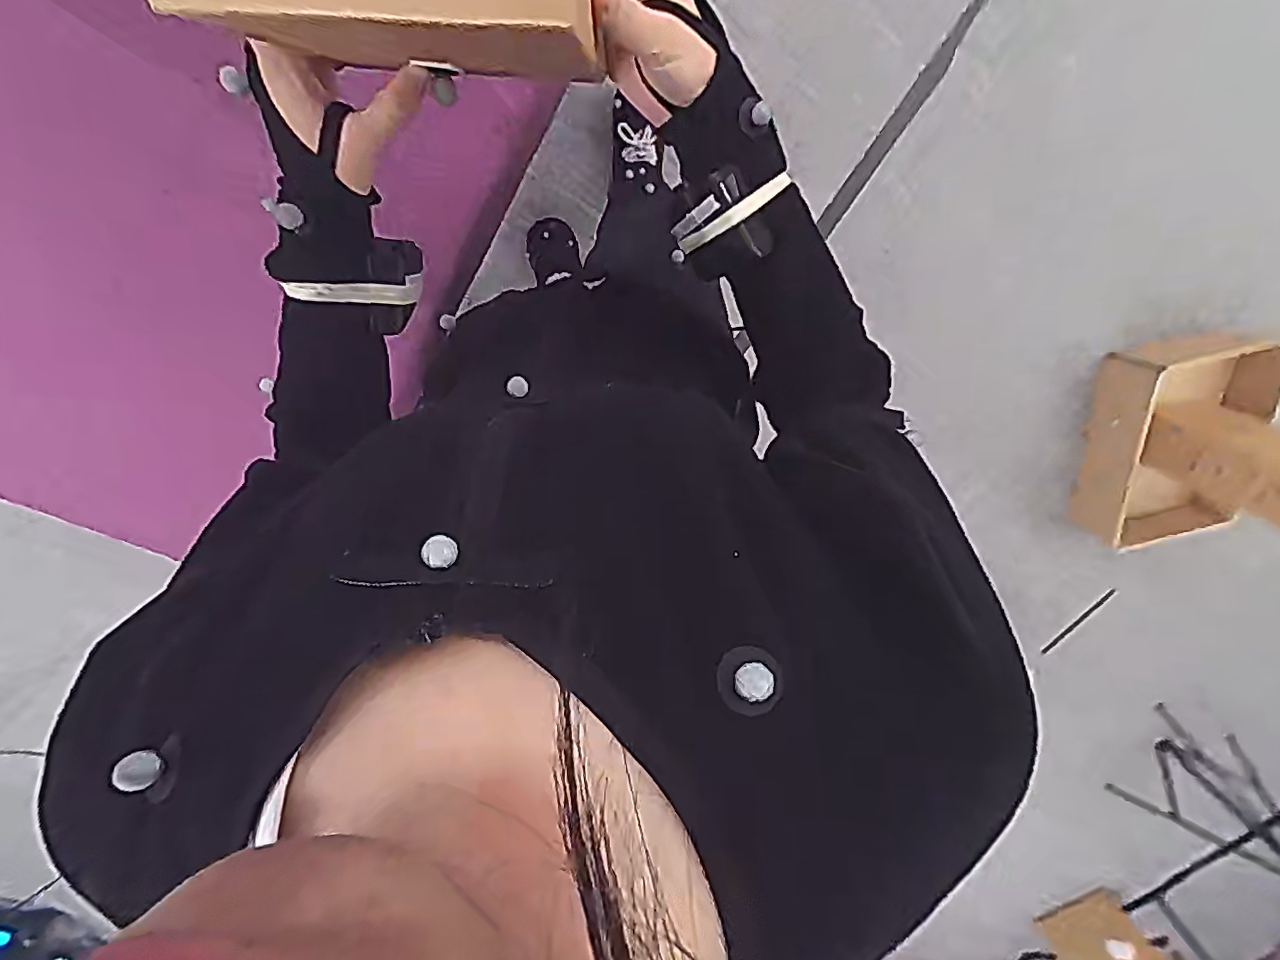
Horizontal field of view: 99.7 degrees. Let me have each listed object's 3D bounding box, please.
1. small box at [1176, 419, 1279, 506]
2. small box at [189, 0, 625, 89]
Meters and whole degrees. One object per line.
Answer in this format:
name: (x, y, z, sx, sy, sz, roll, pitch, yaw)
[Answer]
small box: (1.643, -0.052, 1.476, 0.179, 0.176, 0.168, -10, 119, -2)
small box: (-0.090, -0.292, 0.236, 0.168, 0.176, 0.179, 3, 120, 0)
